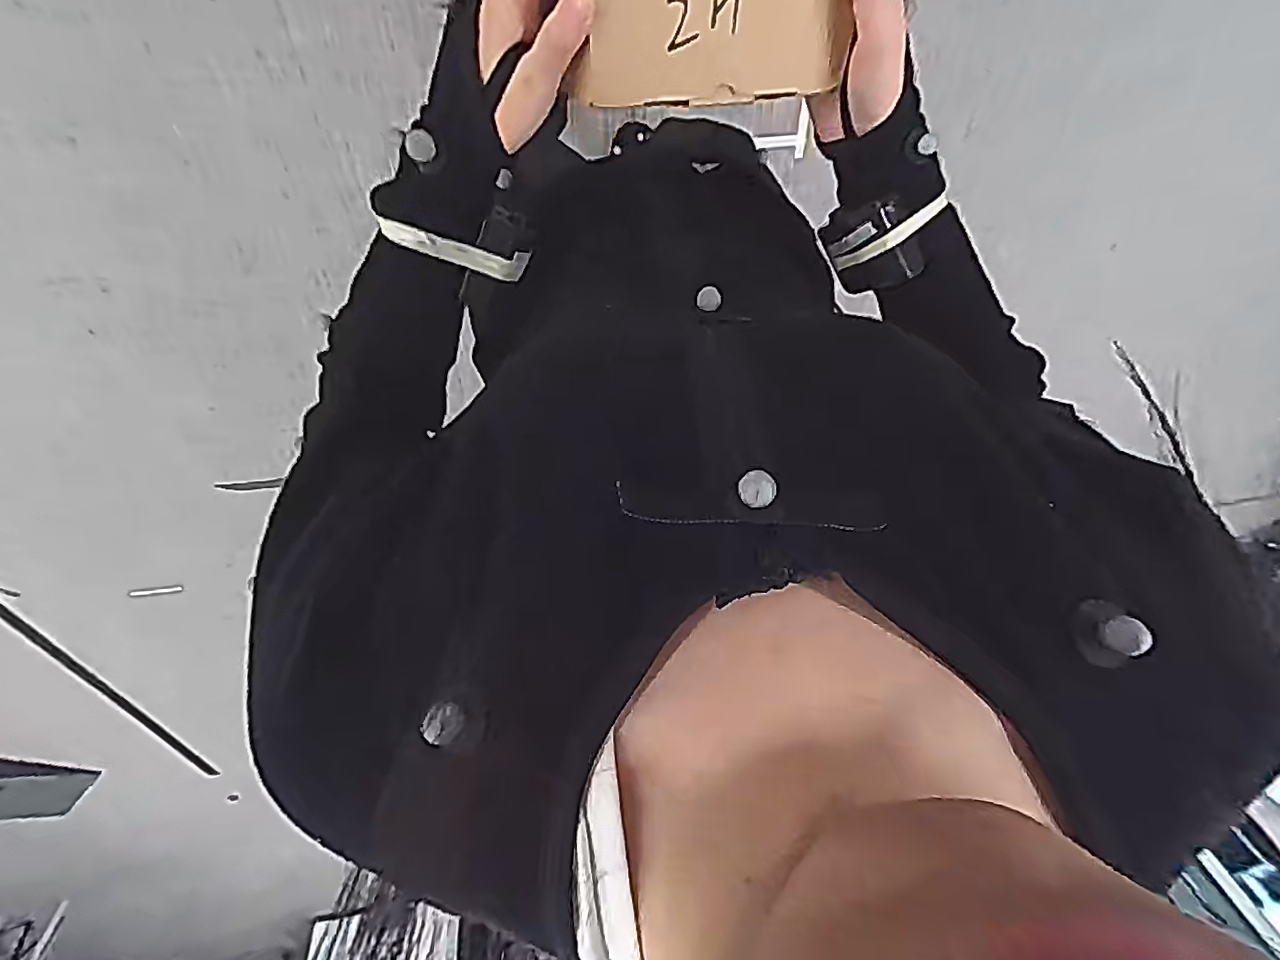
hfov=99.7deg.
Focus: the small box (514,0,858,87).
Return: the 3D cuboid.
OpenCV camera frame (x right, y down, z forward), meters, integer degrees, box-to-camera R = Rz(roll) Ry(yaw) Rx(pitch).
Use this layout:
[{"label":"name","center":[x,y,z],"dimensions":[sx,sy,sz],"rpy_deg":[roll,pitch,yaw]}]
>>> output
[{"label":"small box","center":[0.019,-0.342,0.305],"dimensions":[0.168,0.176,0.179],"rpy_deg":[-15,137,-17]}]
